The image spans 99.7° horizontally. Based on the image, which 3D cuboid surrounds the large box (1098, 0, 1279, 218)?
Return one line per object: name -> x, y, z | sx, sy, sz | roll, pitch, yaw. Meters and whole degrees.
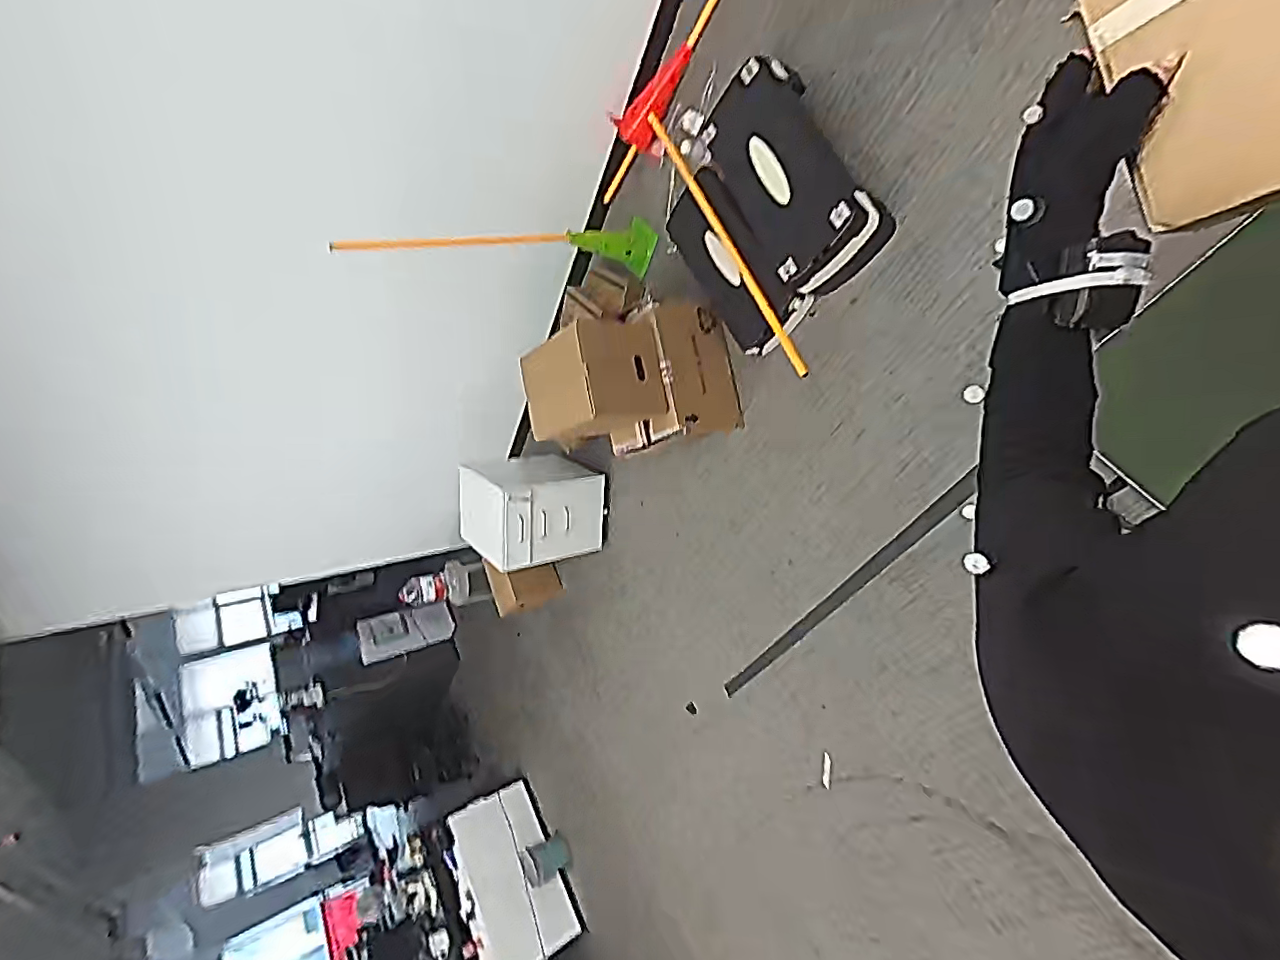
large box -> 0.581, -0.425, 0.351 | 0.408, 0.320, 0.320 | -15, 96, 51
